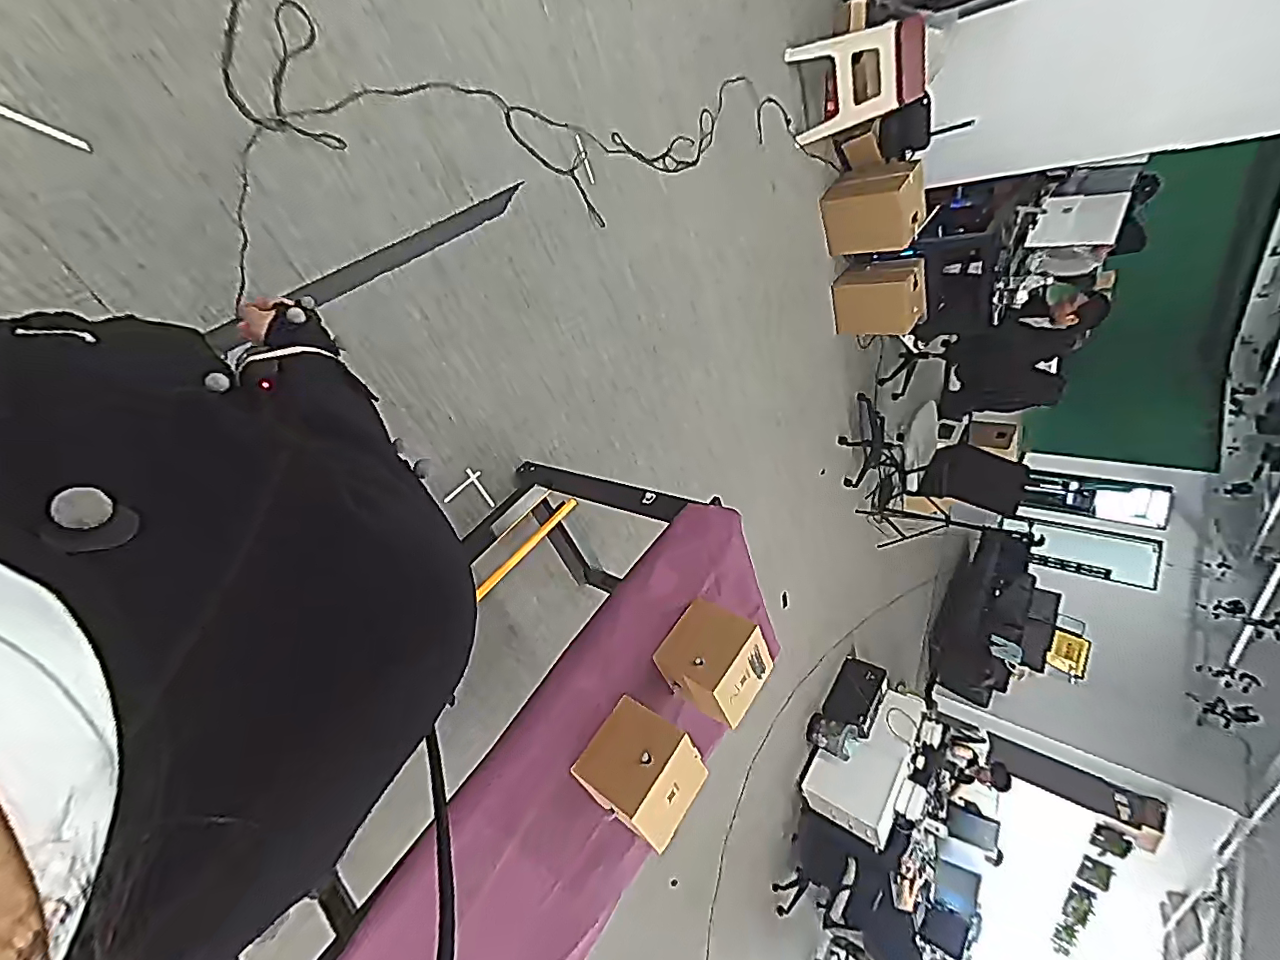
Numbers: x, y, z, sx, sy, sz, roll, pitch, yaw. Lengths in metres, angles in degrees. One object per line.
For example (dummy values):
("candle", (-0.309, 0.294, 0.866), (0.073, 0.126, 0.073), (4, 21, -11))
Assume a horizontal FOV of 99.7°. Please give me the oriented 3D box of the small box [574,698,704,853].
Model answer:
("small box", (-0.006, 0.569, 1.057), (0.179, 0.176, 0.168), (-47, 131, -30))
